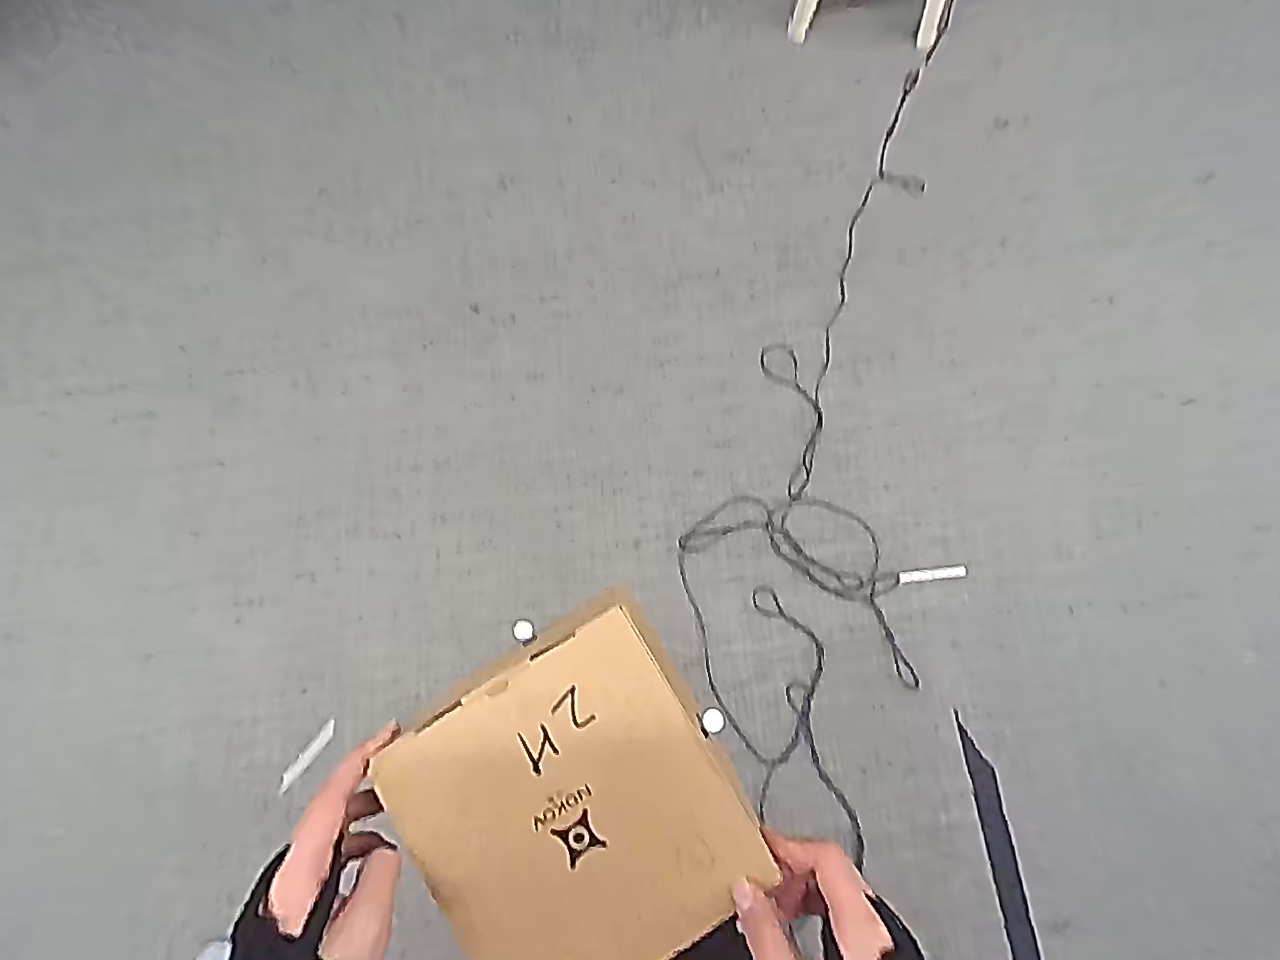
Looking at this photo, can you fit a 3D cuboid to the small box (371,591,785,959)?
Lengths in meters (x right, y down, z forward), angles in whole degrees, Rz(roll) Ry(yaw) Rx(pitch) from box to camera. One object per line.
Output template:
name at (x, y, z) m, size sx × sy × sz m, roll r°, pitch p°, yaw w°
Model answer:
small box at (-0.034, 0.195, 0.370) m, size 0.168 × 0.176 × 0.179 m, roll -32°, pitch 85°, yaw -4°
